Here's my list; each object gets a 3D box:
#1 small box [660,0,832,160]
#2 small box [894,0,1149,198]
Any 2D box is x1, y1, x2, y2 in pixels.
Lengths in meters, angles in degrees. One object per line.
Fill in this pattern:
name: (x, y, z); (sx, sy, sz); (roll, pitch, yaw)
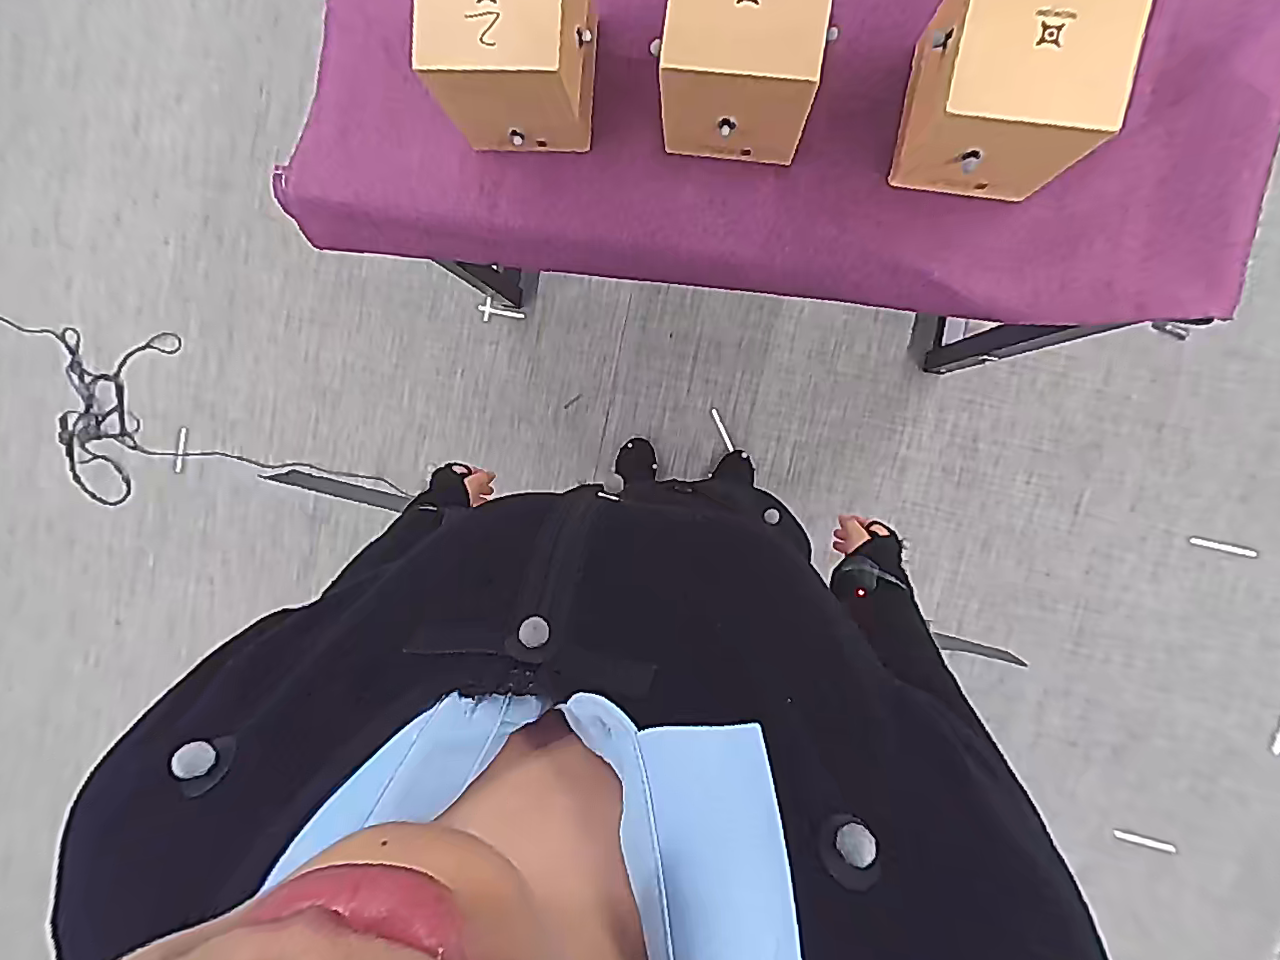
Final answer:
small box: (0.121, -0.505, 0.627); (0.168, 0.176, 0.179); (9, 94, 4)
small box: (0.405, -0.443, 0.604); (0.168, 0.176, 0.179); (10, 95, 5)
